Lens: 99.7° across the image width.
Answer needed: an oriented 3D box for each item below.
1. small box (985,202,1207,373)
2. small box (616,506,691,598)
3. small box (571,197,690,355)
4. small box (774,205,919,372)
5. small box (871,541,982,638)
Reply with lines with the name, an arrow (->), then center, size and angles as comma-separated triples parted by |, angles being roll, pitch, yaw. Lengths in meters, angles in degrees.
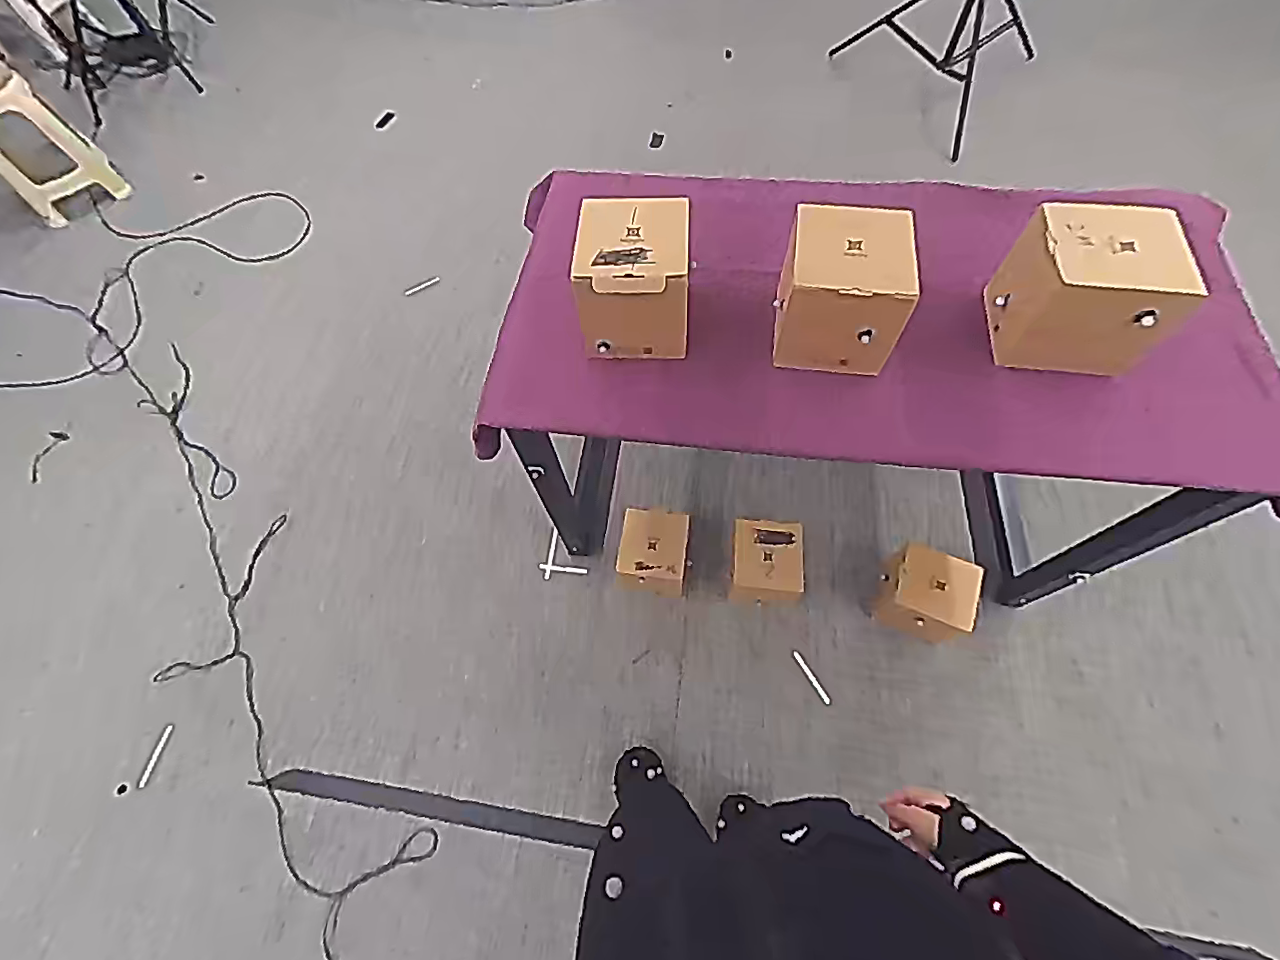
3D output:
small box -> 0.651, -0.277, 0.799 | 0.179, 0.176, 0.168 | 7, 63, 7
small box -> 0.039, 0.192, 1.417 | 0.168, 0.176, 0.179 | 8, 63, 7
small box -> -0.006, -0.315, 0.855 | 0.168, 0.176, 0.179 | 1, 62, 4
small box -> 0.303, -0.286, 0.826 | 0.168, 0.176, 0.179 | 7, 62, 6
small box -> 0.701, 0.278, 1.337 | 0.179, 0.176, 0.168 | 21, 67, 14
